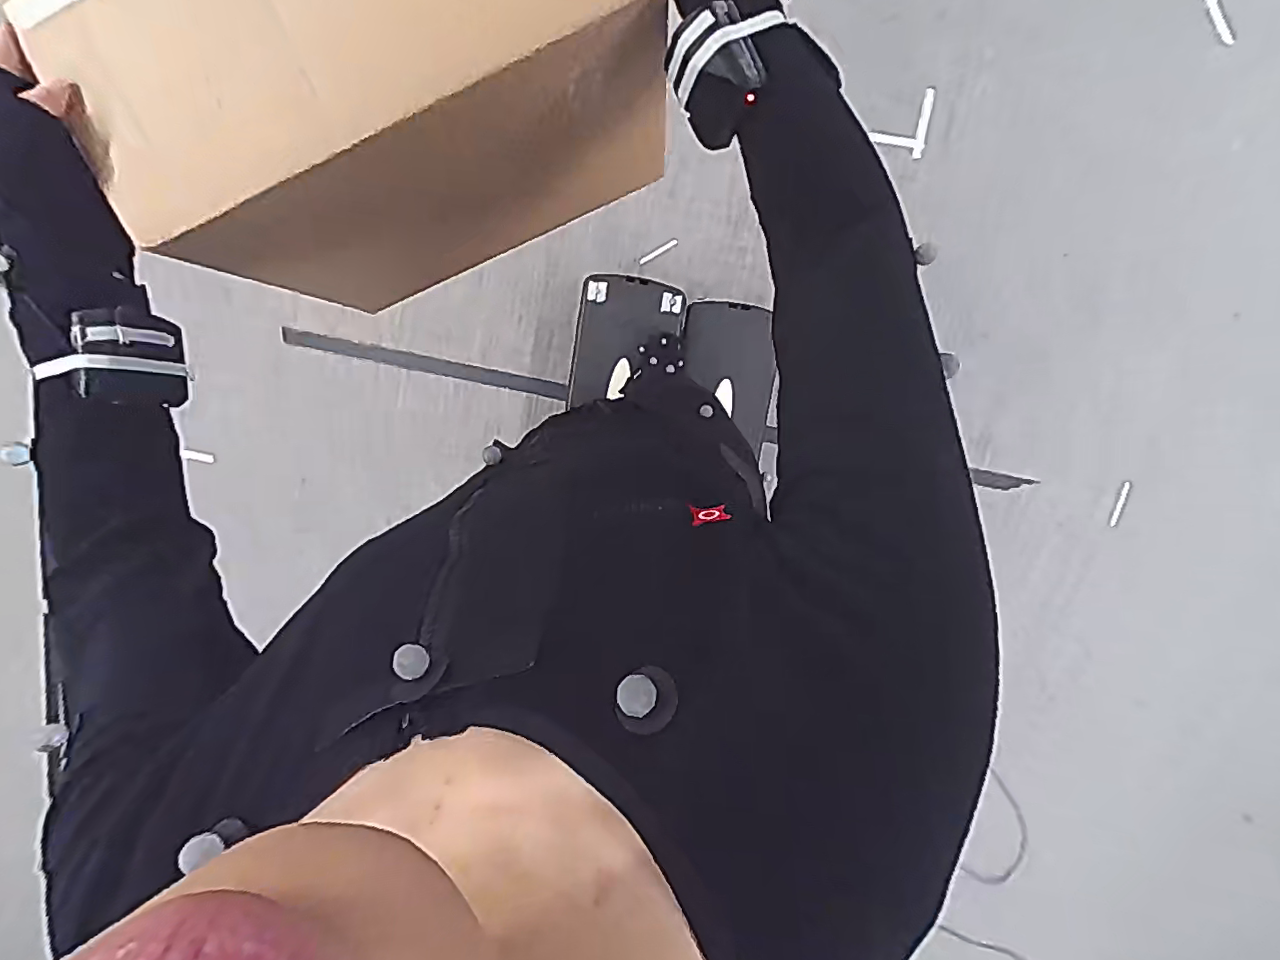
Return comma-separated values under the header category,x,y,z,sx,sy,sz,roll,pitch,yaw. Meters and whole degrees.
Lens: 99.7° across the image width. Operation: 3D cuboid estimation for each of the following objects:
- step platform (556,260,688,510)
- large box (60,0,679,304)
category,x,y,z,sx,sy,sz,roll,pitch,yaw
step platform,-0.056,-0.256,1.537,0.286,0.204,0.684,9,99,-1
large box,-0.208,-0.411,0.502,0.408,0.320,0.320,-22,98,4
